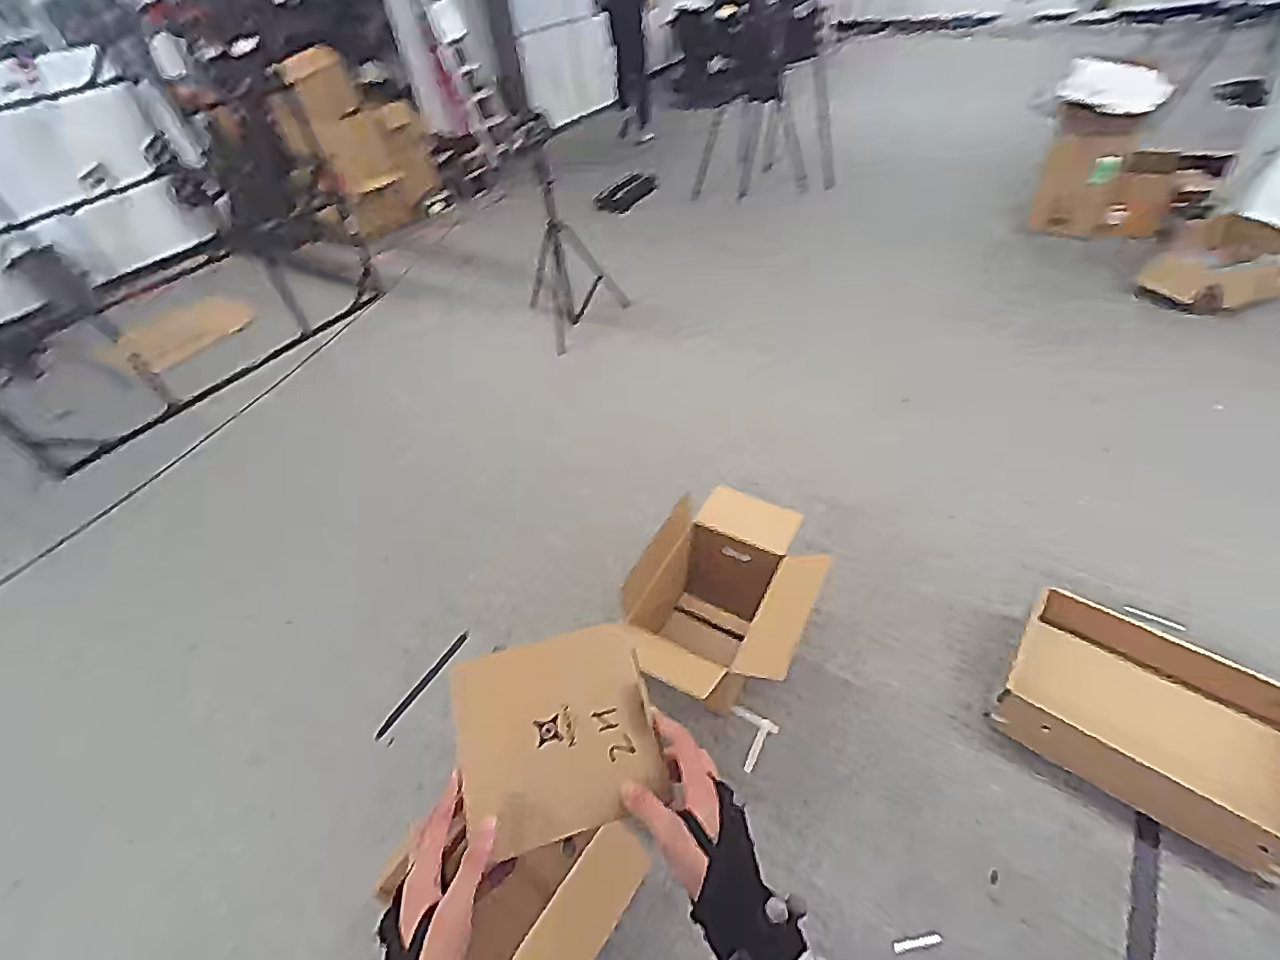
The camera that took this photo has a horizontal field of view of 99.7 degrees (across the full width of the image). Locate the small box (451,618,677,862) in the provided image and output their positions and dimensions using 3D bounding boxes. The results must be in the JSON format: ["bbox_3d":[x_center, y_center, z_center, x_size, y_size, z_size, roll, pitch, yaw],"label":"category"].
[{"bbox_3d":[-0.078,0.261,0.546,0.179,0.176,0.168,-11,61,-14],"label":"small box"}]
